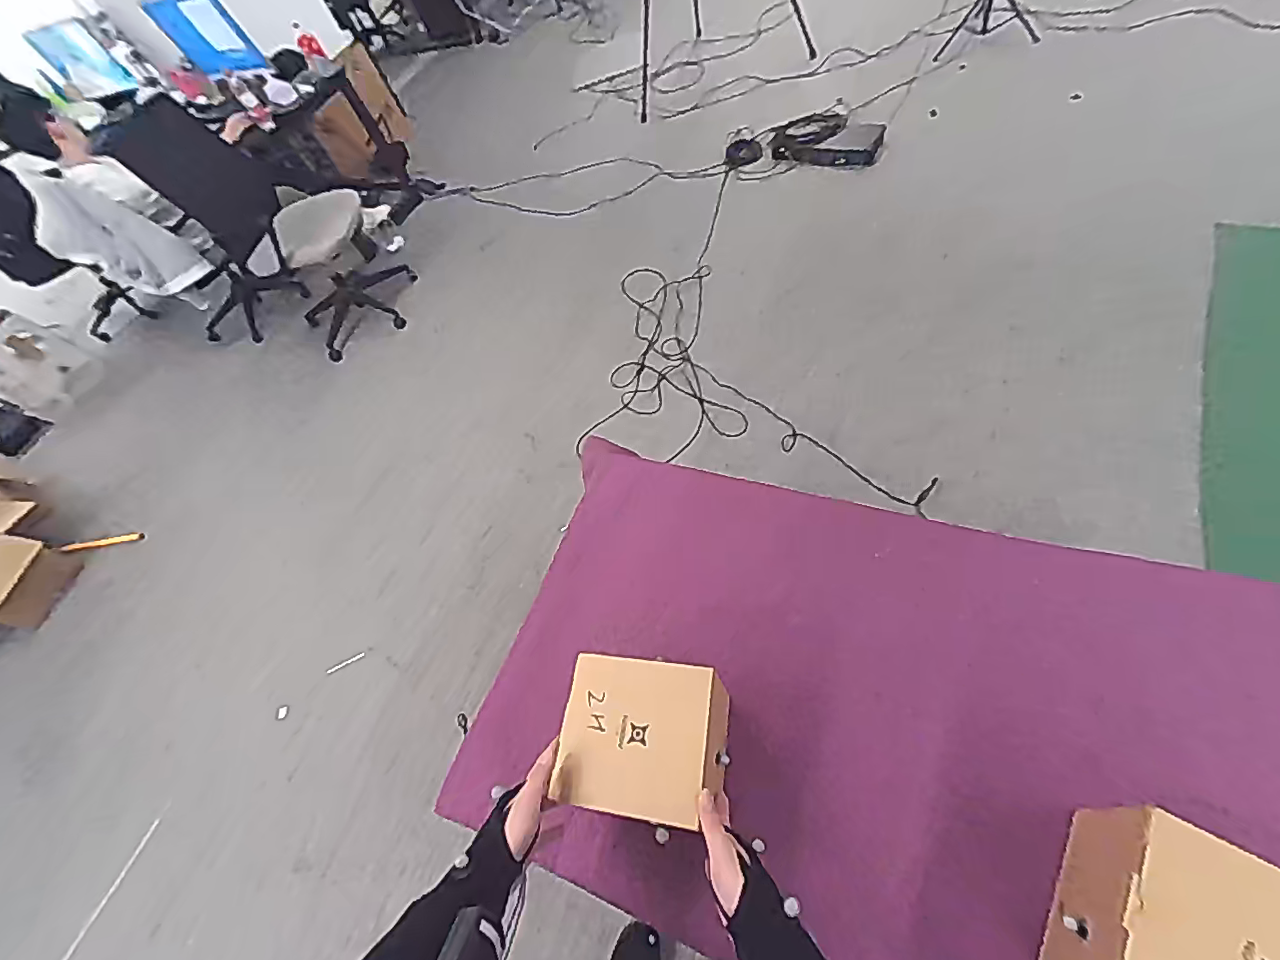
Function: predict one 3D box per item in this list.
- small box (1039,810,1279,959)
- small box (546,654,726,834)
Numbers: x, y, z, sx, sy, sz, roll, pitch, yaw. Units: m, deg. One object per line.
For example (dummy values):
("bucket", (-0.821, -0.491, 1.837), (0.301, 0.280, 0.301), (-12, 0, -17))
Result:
("small box", (0.497, 0.430, 0.480), (0.179, 0.176, 0.168), (24, 68, 27))
("small box", (0.010, 0.332, 0.681), (0.179, 0.176, 0.168), (1, 58, 17))
